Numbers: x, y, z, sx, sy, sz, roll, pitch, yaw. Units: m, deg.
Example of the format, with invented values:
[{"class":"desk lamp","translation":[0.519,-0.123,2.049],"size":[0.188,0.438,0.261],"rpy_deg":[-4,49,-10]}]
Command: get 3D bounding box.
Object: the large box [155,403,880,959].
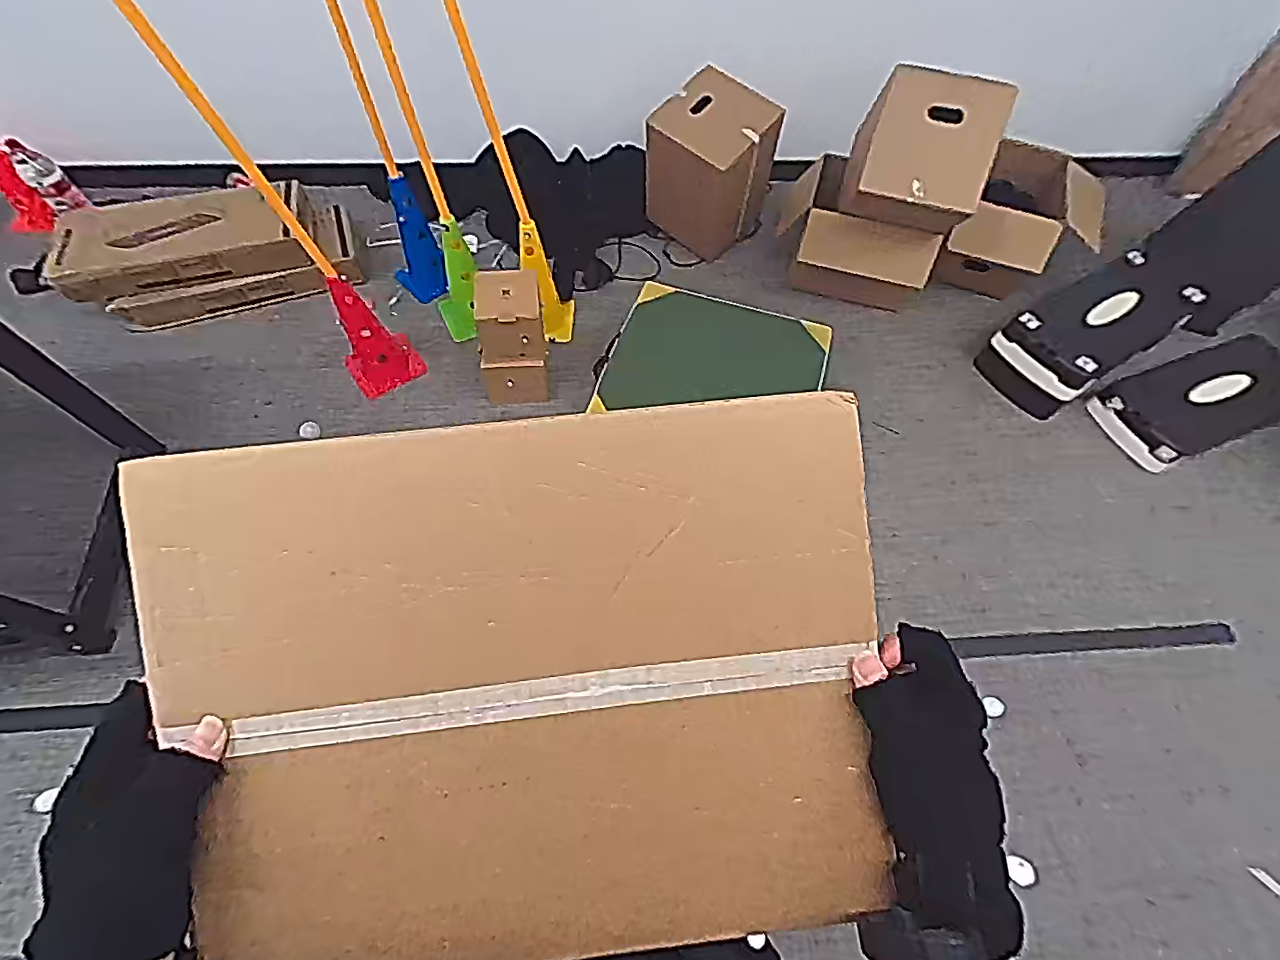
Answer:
[{"class":"large box","translation":[-0.072,0.124,0.468],"size":[0.408,0.320,0.320],"rpy_deg":[-6,93,-2]}]
